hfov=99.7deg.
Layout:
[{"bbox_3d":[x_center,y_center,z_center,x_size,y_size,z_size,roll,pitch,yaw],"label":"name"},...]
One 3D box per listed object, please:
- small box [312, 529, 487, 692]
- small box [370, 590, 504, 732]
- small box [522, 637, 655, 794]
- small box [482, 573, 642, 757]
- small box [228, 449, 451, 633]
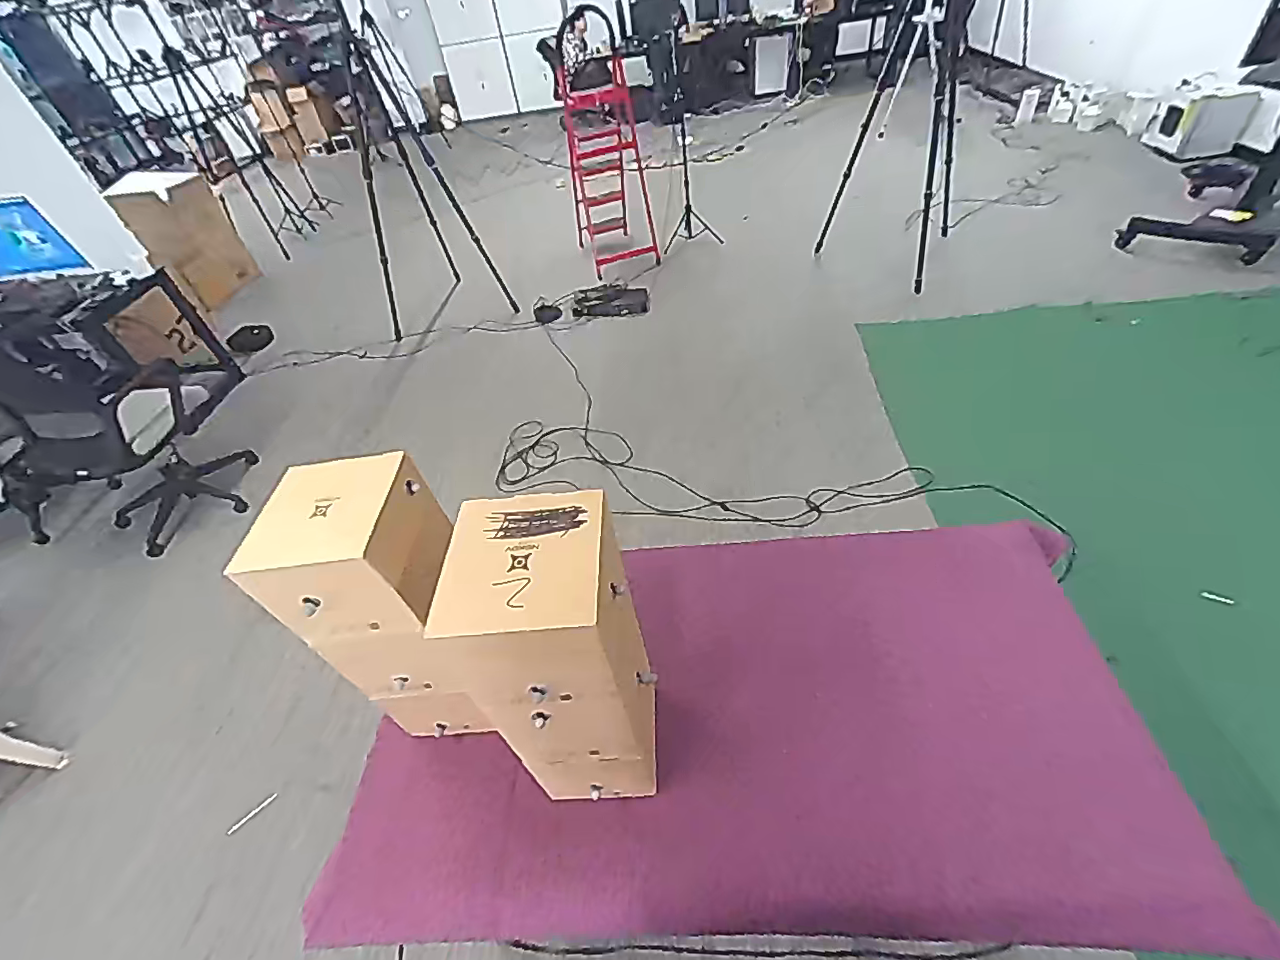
[{"bbox_3d":[-0.347,0.199,0.823,0.168,0.176,0.179,-7,46,5],"label":"small box"},{"bbox_3d":[-0.325,0.314,0.937,0.168,0.176,0.179,-6,45,5],"label":"small box"},{"bbox_3d":[-0.068,0.365,0.838,0.168,0.176,0.179,-5,45,6],"label":"small box"},{"bbox_3d":[-0.090,0.248,0.724,0.168,0.176,0.179,-6,44,6],"label":"small box"},{"bbox_3d":[-0.369,0.086,0.709,0.168,0.176,0.179,-7,44,5],"label":"small box"}]
